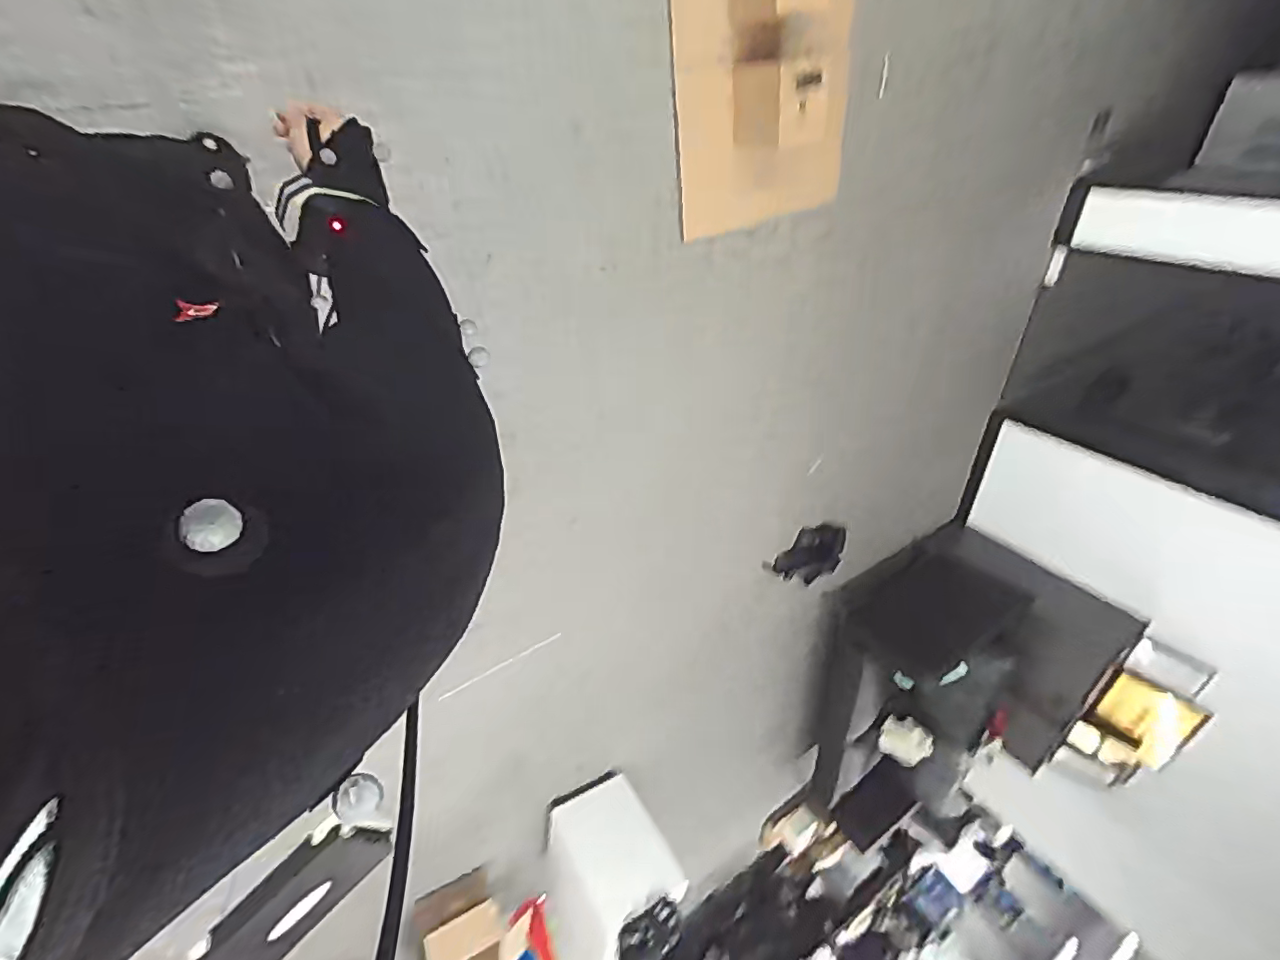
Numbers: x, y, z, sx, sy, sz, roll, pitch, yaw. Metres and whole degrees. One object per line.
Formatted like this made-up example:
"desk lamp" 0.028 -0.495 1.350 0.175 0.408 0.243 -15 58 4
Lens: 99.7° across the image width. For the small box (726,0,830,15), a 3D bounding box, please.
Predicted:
"small box" 0.316 -1.173 1.223 0.179 0.176 0.168 -24 130 -22
